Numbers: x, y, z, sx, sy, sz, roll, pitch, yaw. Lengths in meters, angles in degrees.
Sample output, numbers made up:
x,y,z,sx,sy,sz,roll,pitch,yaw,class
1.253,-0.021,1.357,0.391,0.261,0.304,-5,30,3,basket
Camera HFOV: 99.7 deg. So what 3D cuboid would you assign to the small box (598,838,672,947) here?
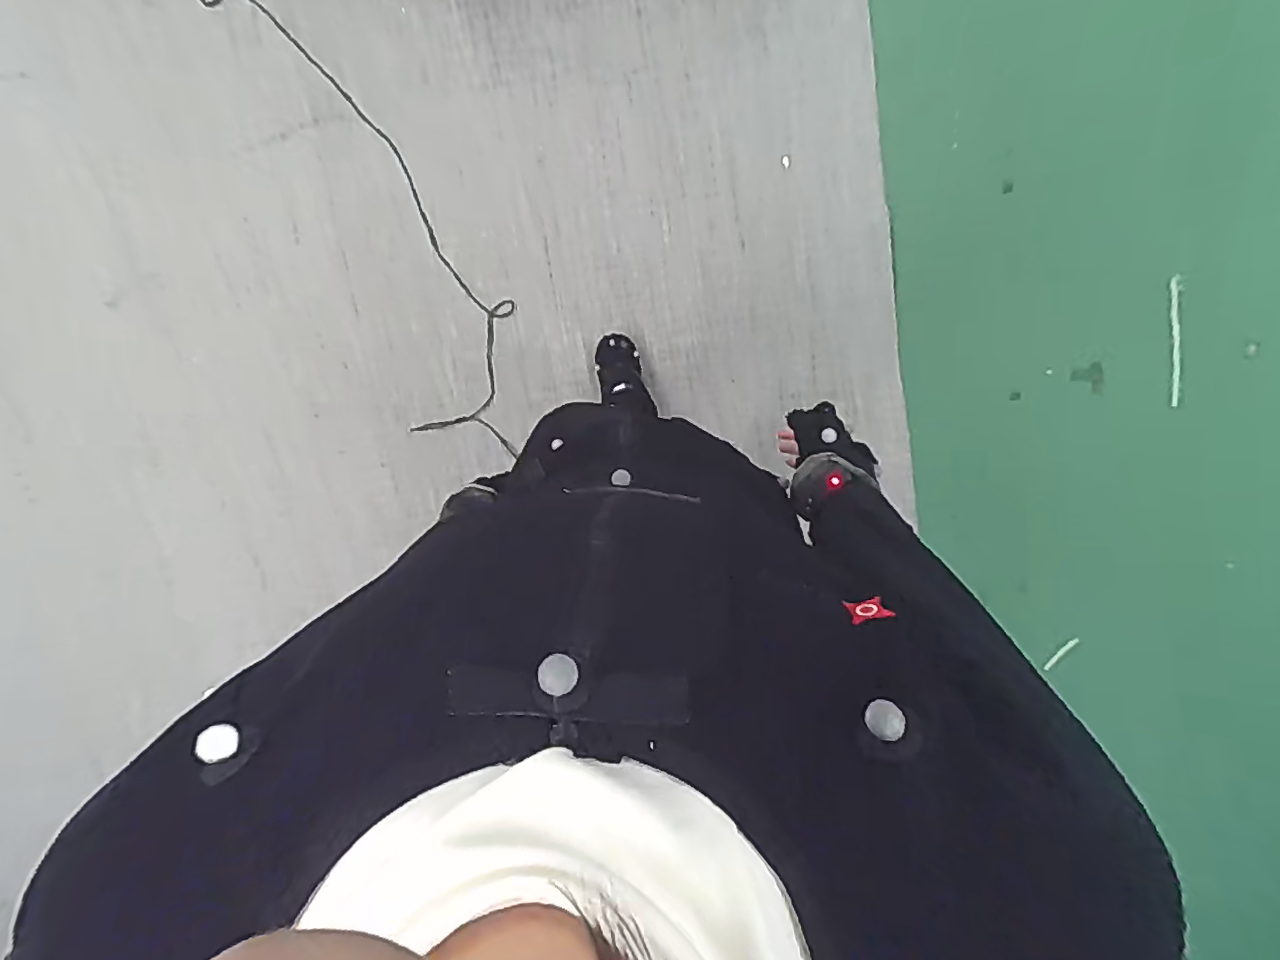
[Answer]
x,y,z,sx,sy,sz,roll,pitch,yaw,class
-0.012,1.153,1.521,0.179,0.176,0.168,-11,99,2,small box
